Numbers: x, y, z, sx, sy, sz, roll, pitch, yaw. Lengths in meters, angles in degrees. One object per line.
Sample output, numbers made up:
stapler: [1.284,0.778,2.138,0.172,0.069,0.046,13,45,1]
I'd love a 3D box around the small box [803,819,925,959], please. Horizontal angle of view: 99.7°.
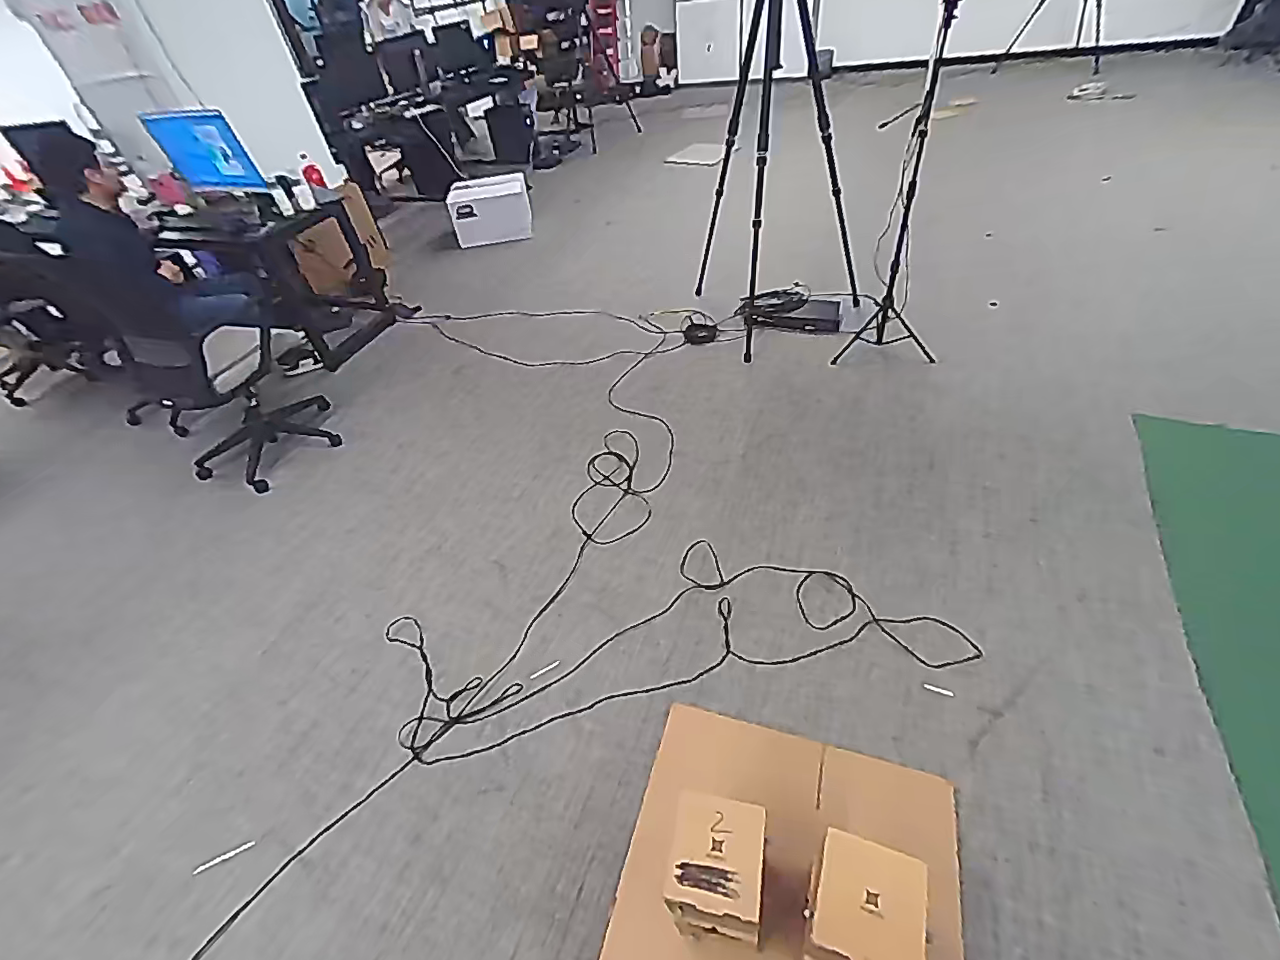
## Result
small box: [0.388,0.740,0.950,0.168,0.176,0.179,11,49,21]

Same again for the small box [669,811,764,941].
small box: [0.166,0.828,1.128,0.168,0.176,0.179,5,46,15]

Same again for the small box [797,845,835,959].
small box: [0.405,0.859,1.059,0.168,0.176,0.179,8,47,19]
